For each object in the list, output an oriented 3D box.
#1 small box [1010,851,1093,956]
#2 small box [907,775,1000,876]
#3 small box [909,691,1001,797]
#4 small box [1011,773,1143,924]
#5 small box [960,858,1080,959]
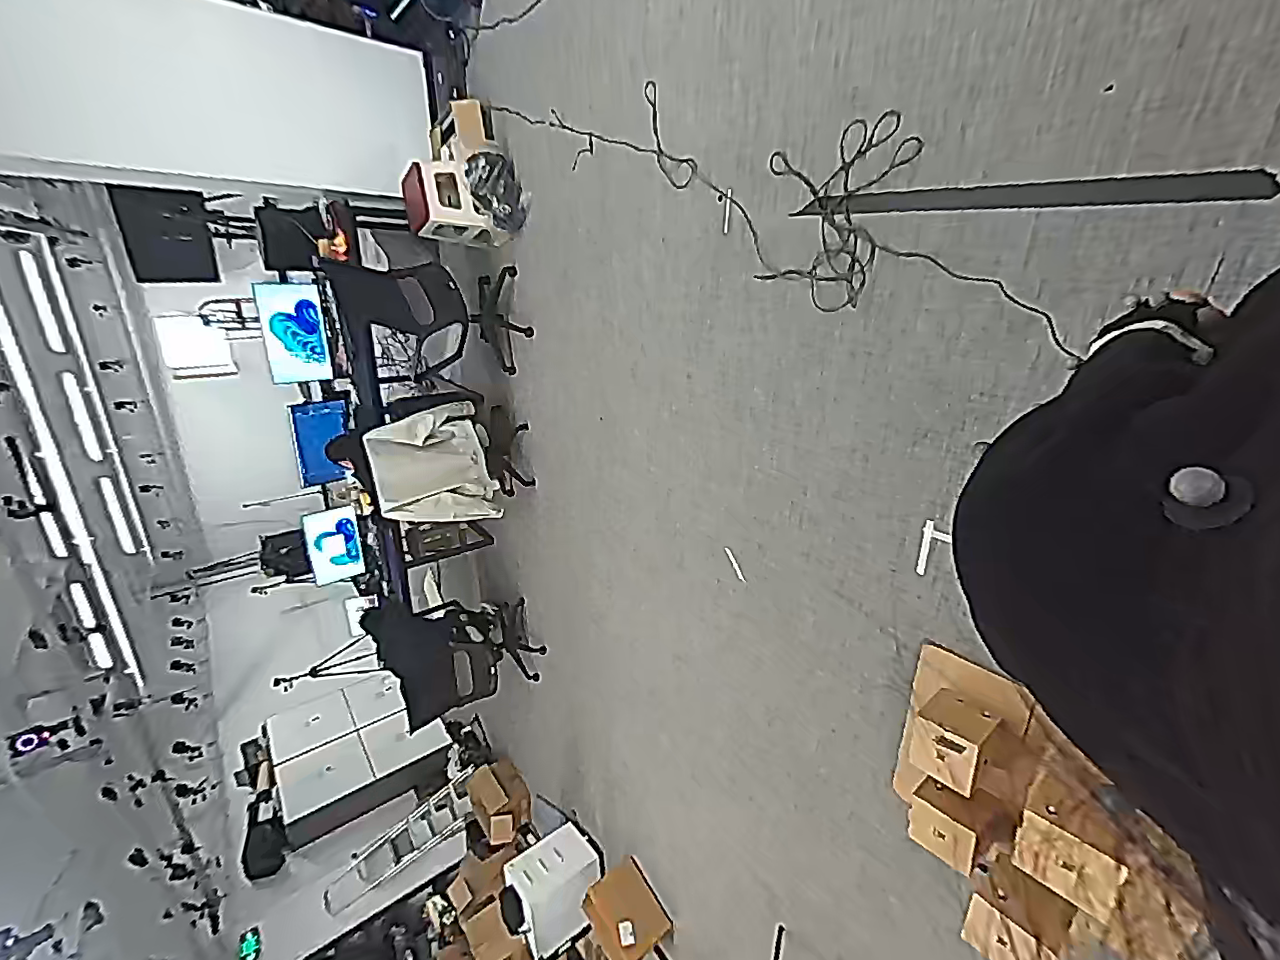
[{"bbox_3d":[1.064,1.042,1.392,0.179,0.176,0.168,17,115,48],"label":"small box"},{"bbox_3d":[0.913,0.984,1.577,0.179,0.176,0.168,17,117,49],"label":"small box"},{"bbox_3d":[0.886,0.730,1.518,0.168,0.176,0.179,19,117,49],"label":"small box"},{"bbox_3d":[0.950,0.786,1.175,0.179,0.176,0.168,20,118,48],"label":"small box"},{"bbox_3d":[0.920,1.069,1.312,0.179,0.176,0.168,23,121,47],"label":"small box"}]
